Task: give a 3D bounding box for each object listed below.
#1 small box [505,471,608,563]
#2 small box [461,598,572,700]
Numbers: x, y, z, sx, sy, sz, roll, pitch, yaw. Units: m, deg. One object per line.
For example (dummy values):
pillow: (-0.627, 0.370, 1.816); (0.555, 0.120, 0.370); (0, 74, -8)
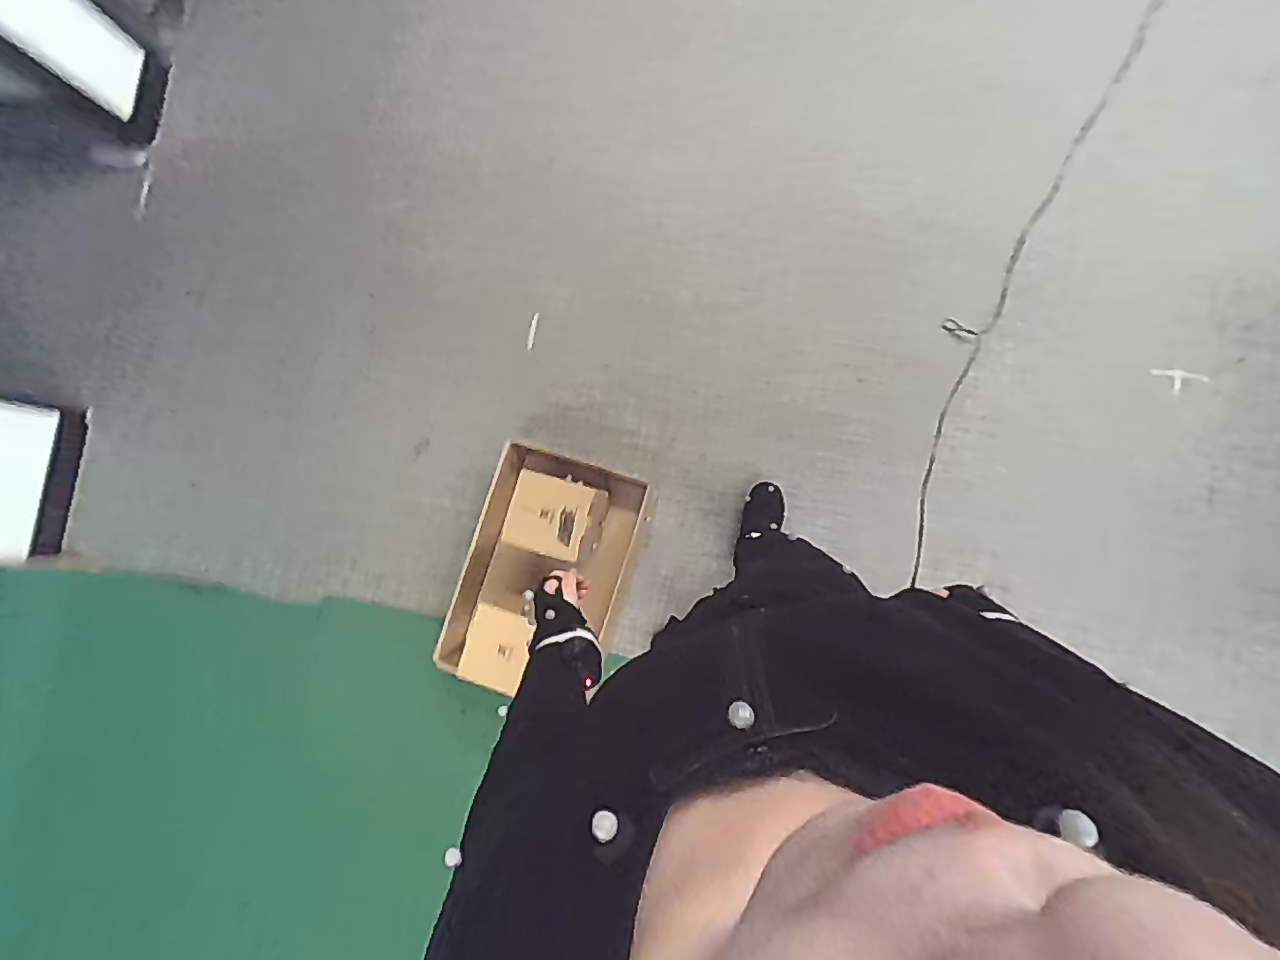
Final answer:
small box: (-0.184, 0.084, 1.254); (0.179, 0.176, 0.168); (15, 88, 8)
small box: (-0.275, 0.377, 1.244); (0.179, 0.176, 0.168); (17, 87, 7)
